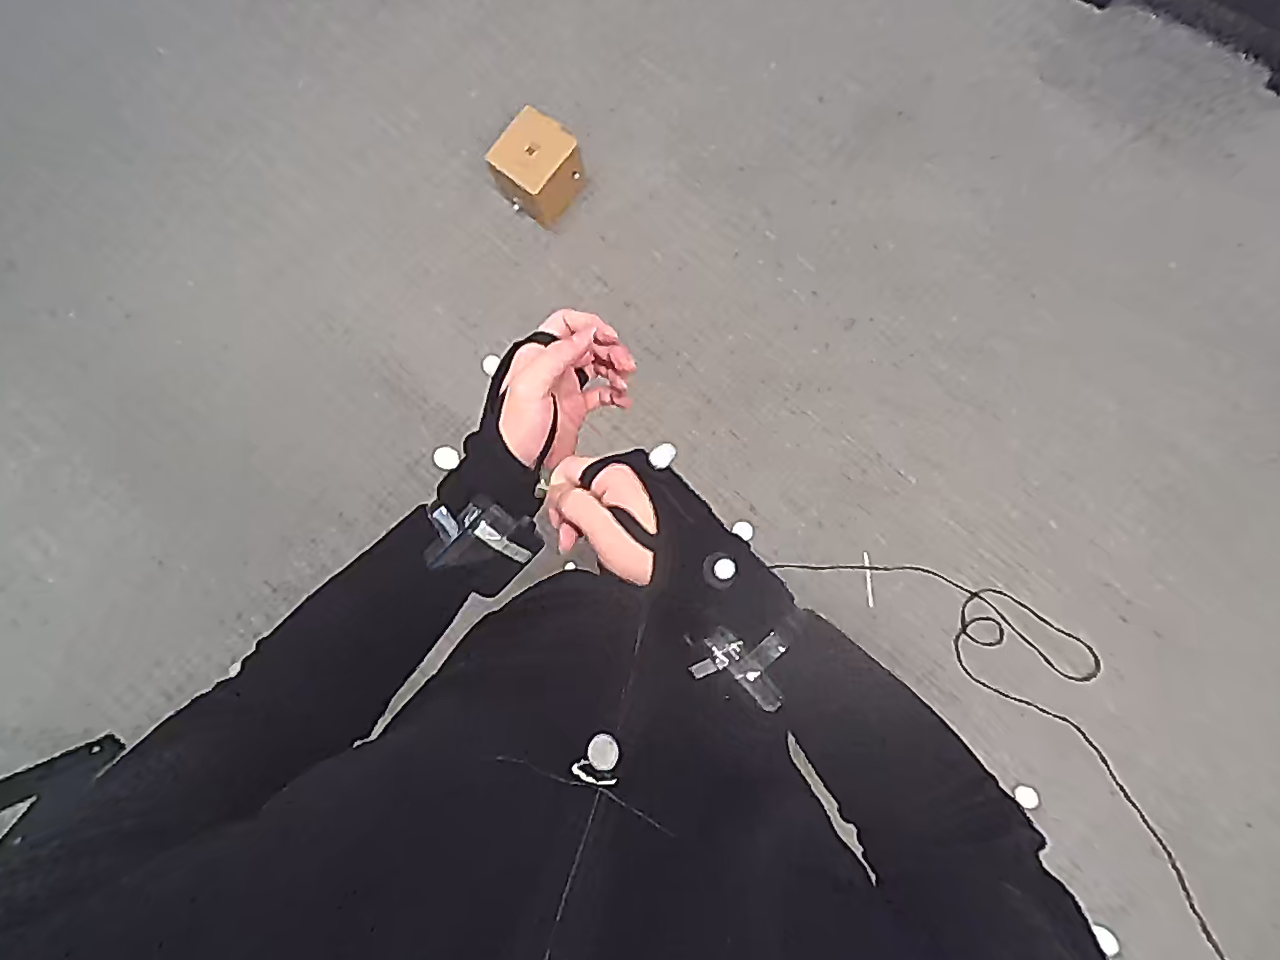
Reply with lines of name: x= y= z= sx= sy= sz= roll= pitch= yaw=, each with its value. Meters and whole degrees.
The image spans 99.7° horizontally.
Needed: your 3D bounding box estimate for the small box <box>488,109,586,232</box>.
small box: x=-0.253 y=-0.784 z=1.388 sx=0.168 sy=0.176 sz=0.179 roll=38 pitch=89 yaw=4
